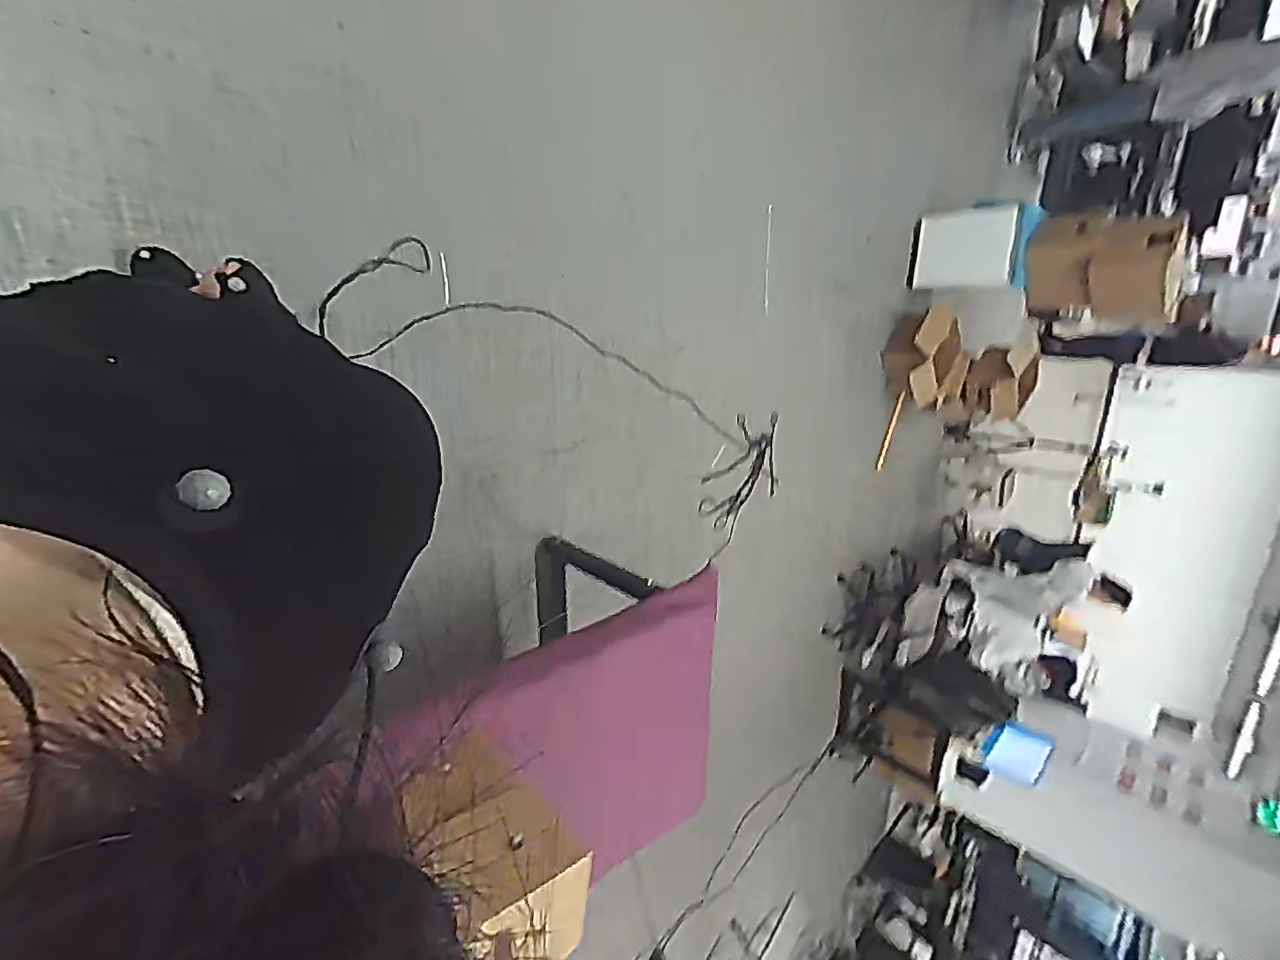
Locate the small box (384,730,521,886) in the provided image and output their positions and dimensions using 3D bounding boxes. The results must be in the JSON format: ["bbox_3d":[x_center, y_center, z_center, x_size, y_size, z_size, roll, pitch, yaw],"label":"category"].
[{"bbox_3d":[-0.300,0.563,0.900,0.168,0.176,0.179,-21,117,-39],"label":"small box"}]

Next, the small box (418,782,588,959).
[{"bbox_3d":[-0.199,0.578,0.768,0.179,0.176,0.168,-3,105,-44],"label":"small box"}]
